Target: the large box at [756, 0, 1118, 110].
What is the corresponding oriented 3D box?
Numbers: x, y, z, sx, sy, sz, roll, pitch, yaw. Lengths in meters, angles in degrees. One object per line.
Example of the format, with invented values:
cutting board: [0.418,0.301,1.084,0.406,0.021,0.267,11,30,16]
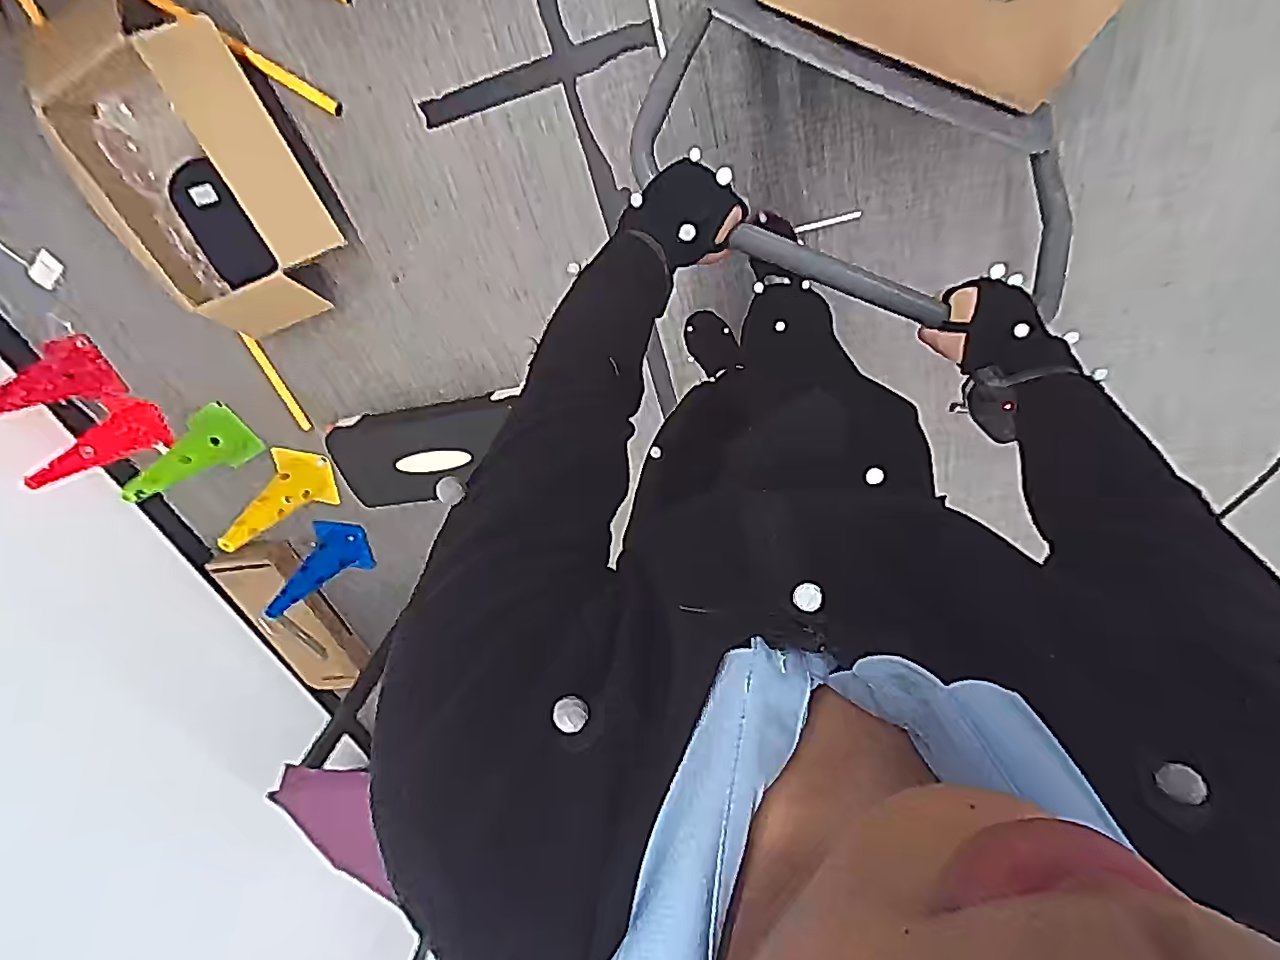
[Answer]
large box: [0.399,-0.744,0.659,0.408,0.320,0.320,19,147,-3]
